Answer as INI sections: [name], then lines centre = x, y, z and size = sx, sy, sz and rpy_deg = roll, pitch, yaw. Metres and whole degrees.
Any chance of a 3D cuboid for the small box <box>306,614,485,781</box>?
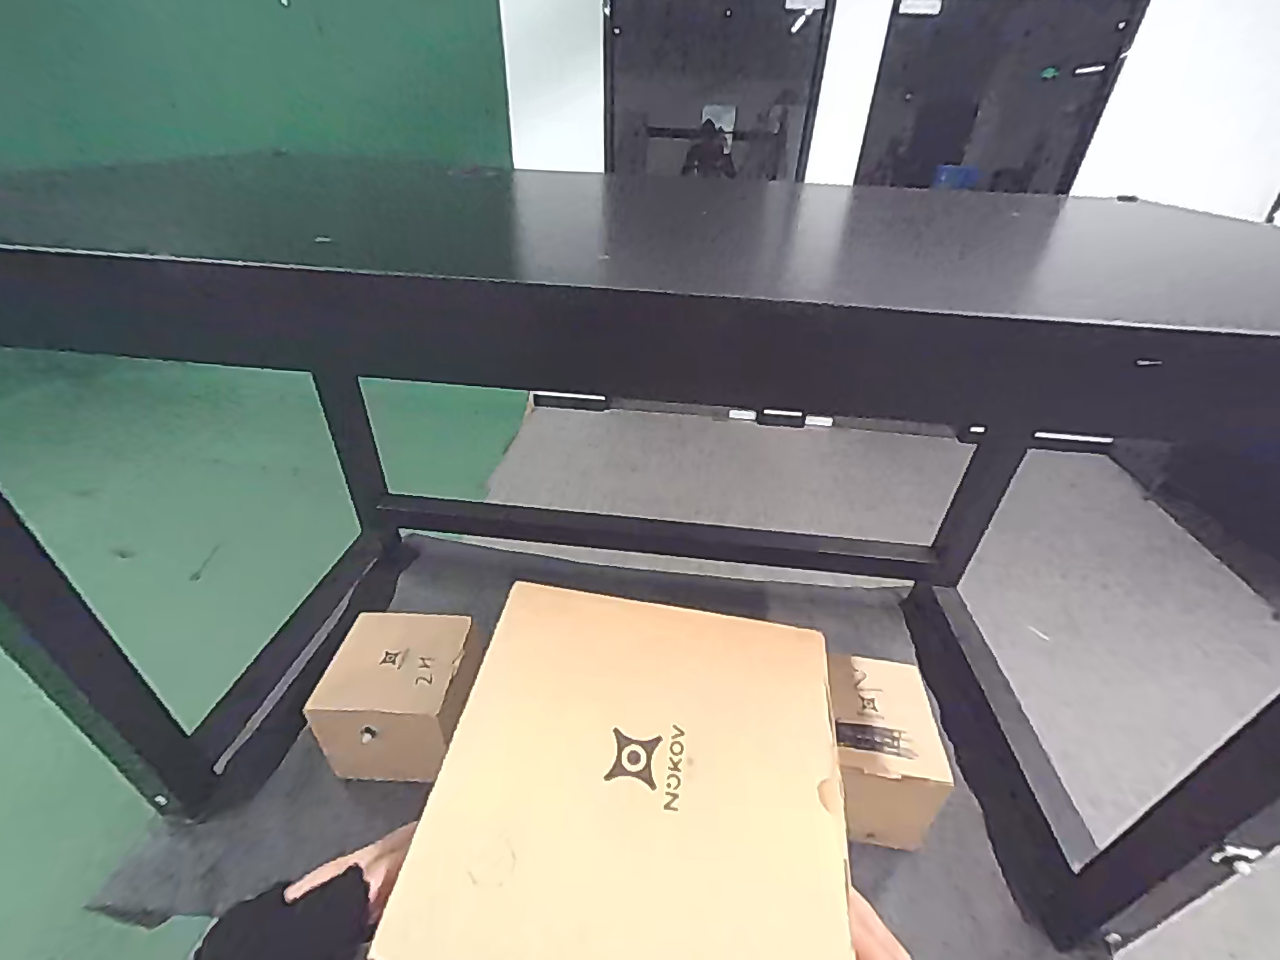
[small box]
centre = -0.343, 0.320, 0.800
size = 0.179, 0.176, 0.168
rpy_deg = 3, 34, 0
